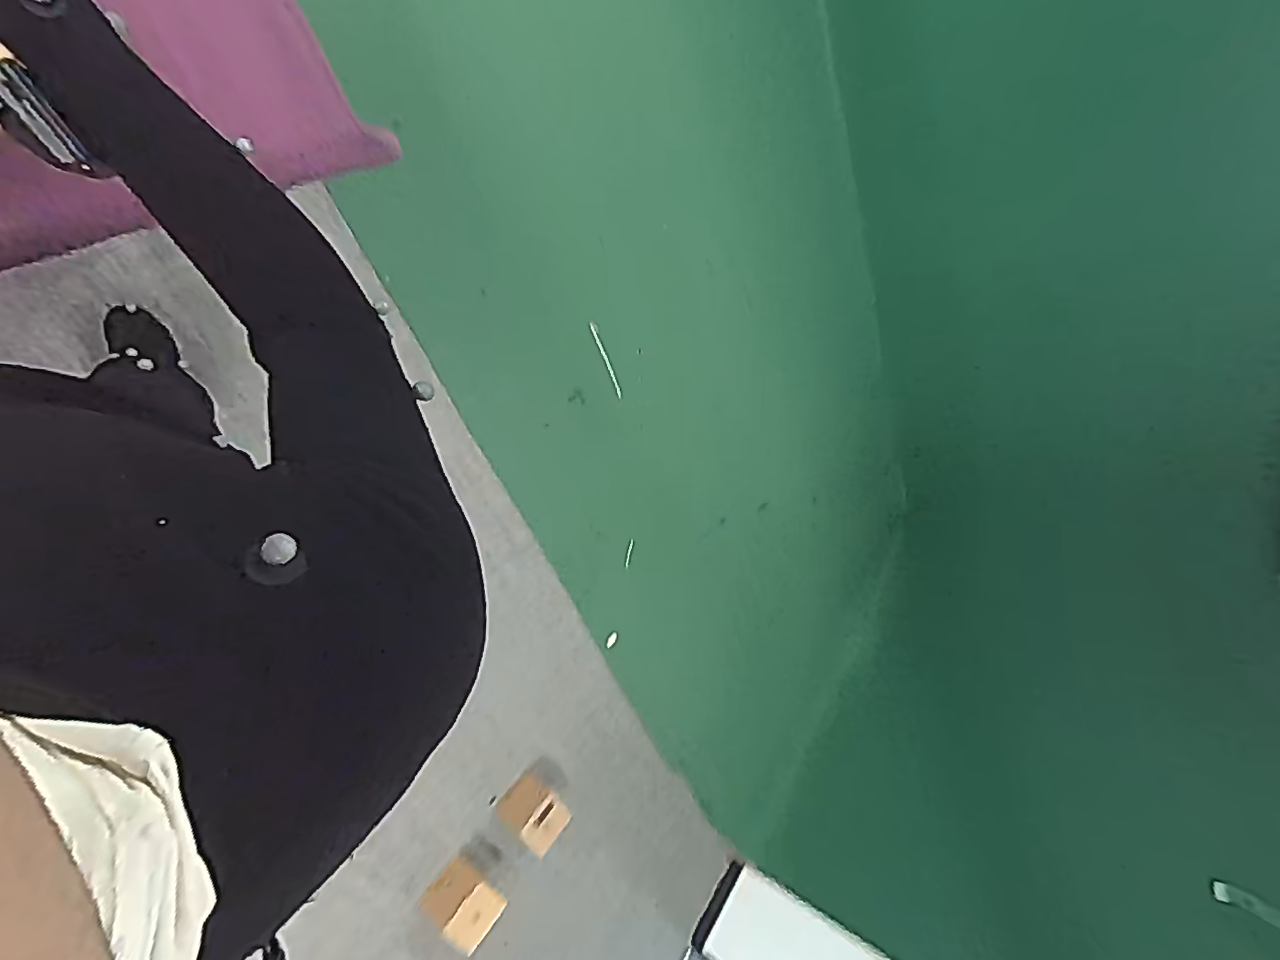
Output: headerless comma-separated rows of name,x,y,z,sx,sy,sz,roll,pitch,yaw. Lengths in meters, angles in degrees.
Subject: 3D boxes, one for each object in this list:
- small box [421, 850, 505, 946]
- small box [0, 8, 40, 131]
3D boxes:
small box,-0.596,1.395,1.817,0.168,0.176,0.179,-44,122,-31
small box,-0.700,-0.428,0.475,0.168,0.176,0.179,-42,121,-33
